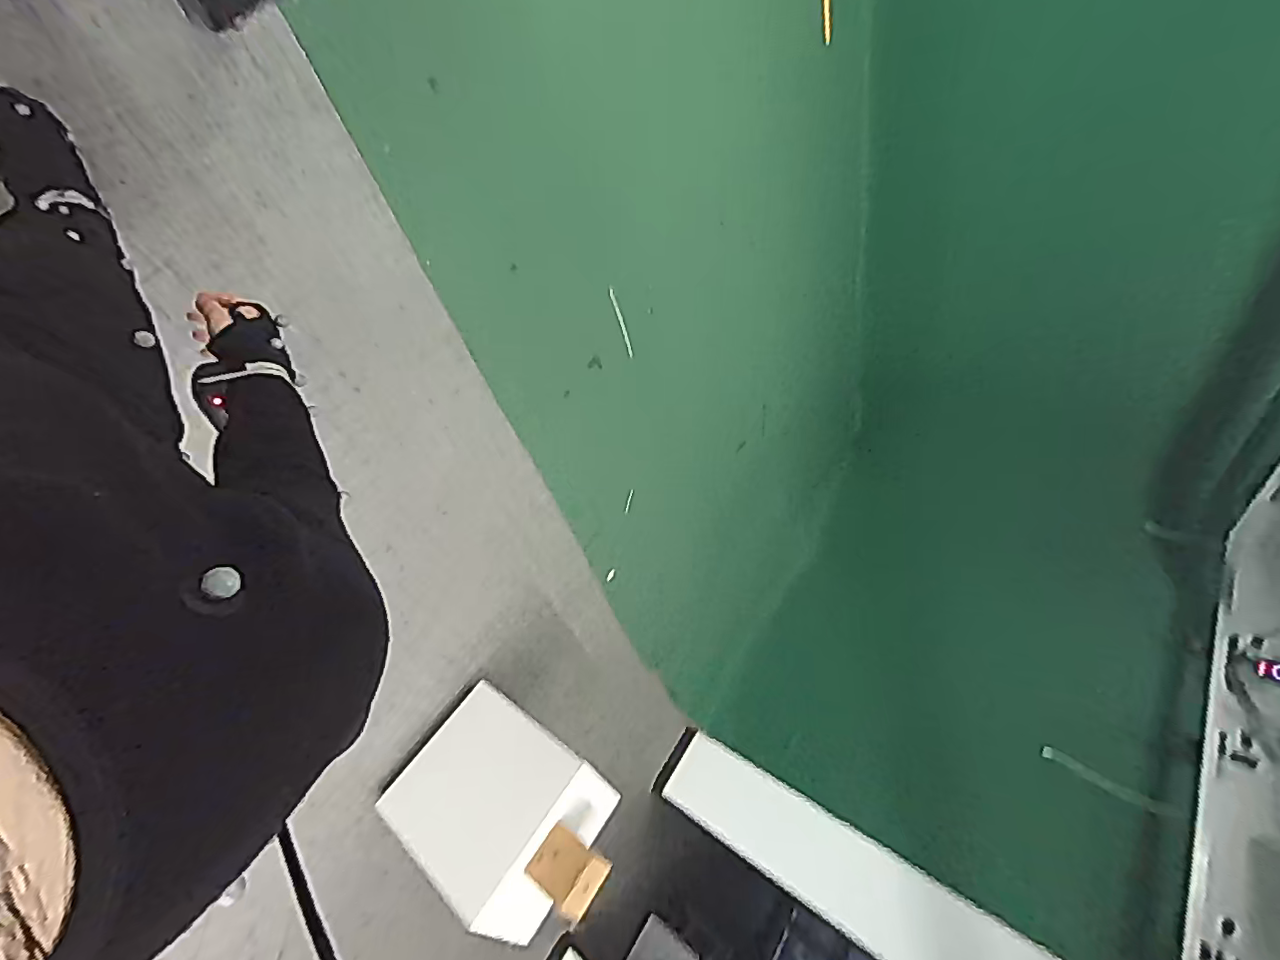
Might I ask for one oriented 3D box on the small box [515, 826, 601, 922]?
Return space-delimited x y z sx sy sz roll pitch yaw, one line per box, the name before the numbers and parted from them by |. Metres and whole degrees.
small box | -0.251 1.209 1.667 0.168 0.176 0.179 -49 141 -28
